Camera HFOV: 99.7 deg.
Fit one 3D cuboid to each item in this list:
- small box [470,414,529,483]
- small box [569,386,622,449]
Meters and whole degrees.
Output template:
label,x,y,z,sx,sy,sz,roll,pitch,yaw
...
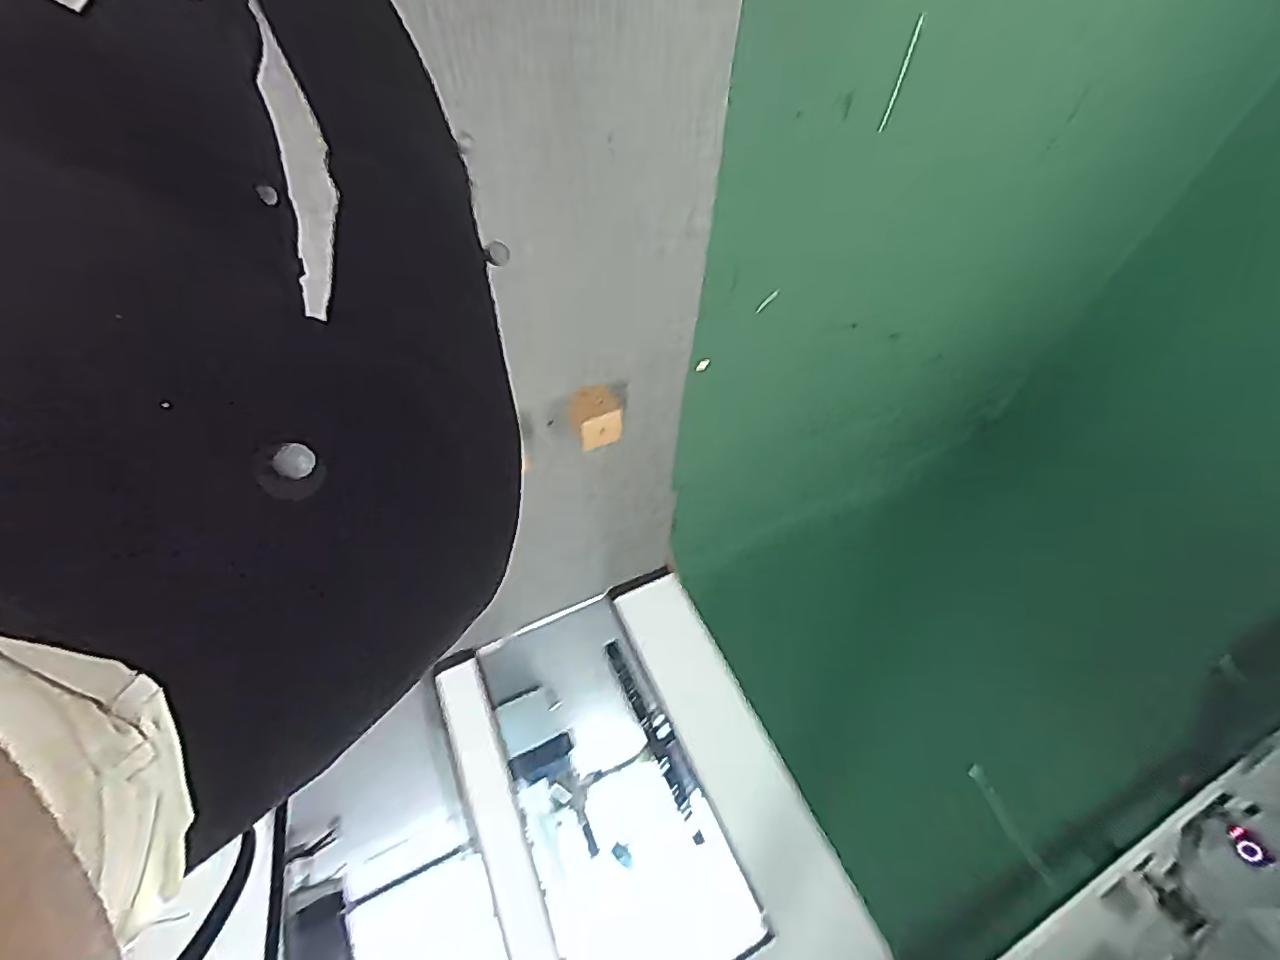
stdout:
label,x,y,z,sx,sy,sz,roll,pitch,yaw
small box,-0.541,-0.124,2.091,0.168,0.176,0.179,-21,147,-16
small box,-0.182,-0.262,2.199,0.168,0.176,0.179,-21,148,-16
